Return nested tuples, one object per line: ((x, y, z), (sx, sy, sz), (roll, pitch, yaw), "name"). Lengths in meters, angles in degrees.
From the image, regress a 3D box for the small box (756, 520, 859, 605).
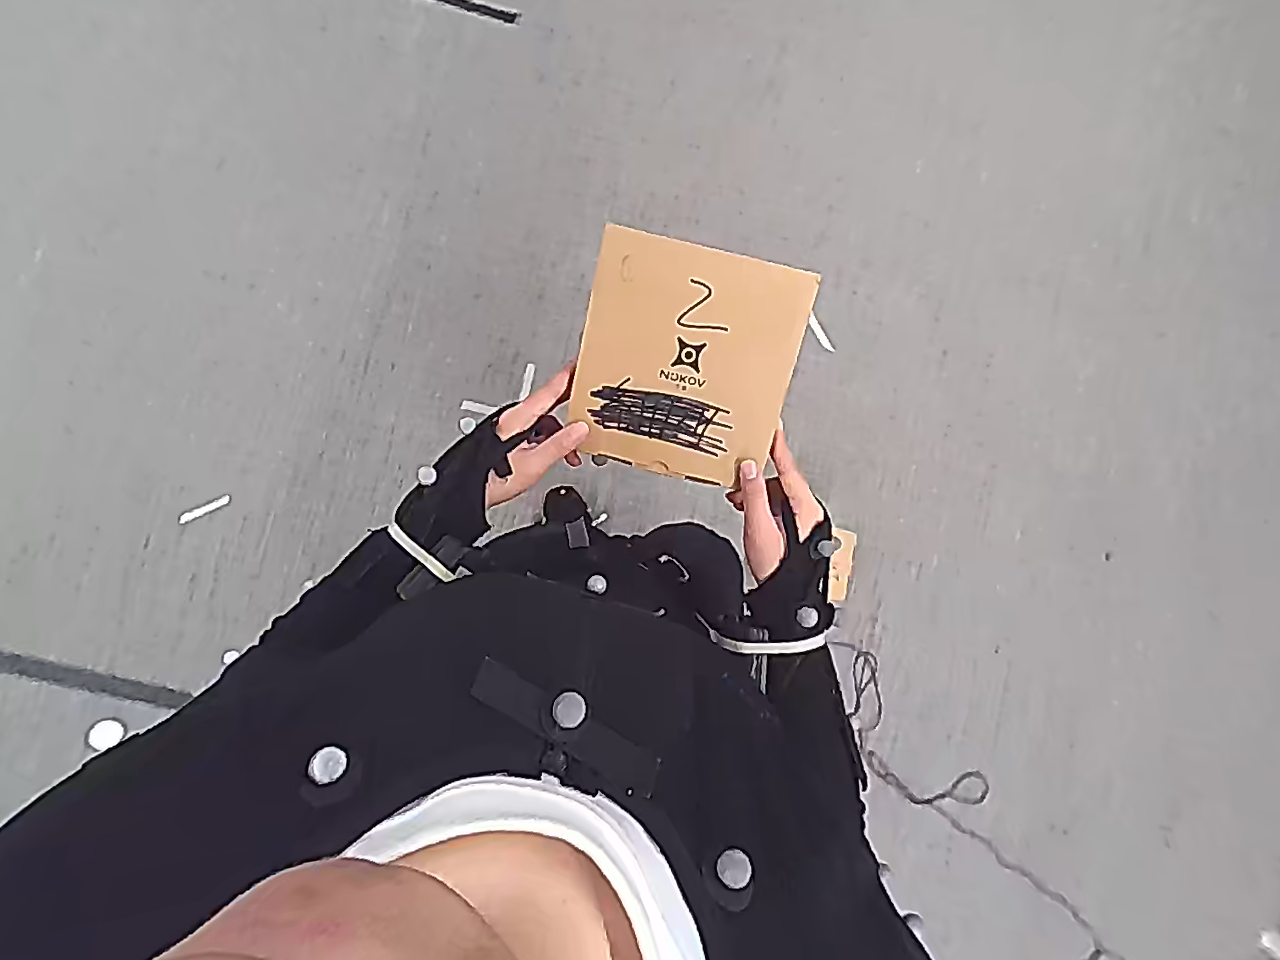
((0.403, 0.195, 1.332), (0.179, 0.176, 0.168), (14, 87, -5), "small box")
